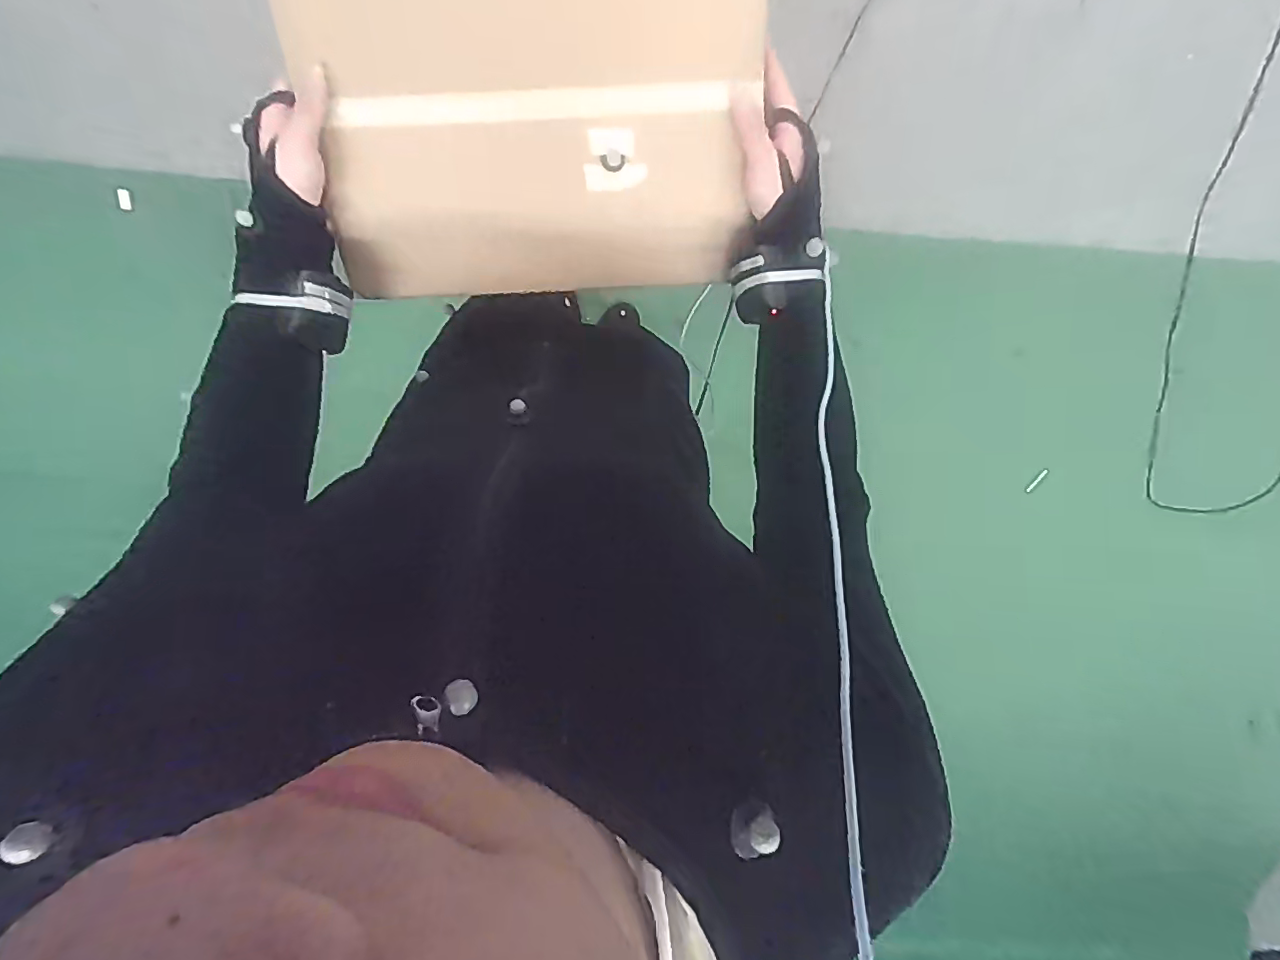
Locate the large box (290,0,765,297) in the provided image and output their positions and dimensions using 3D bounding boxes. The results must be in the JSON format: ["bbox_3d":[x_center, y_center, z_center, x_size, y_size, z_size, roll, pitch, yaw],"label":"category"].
[{"bbox_3d":[-0.098,-0.402,0.620,0.408,0.320,0.320,-4,117,-2],"label":"large box"}]
